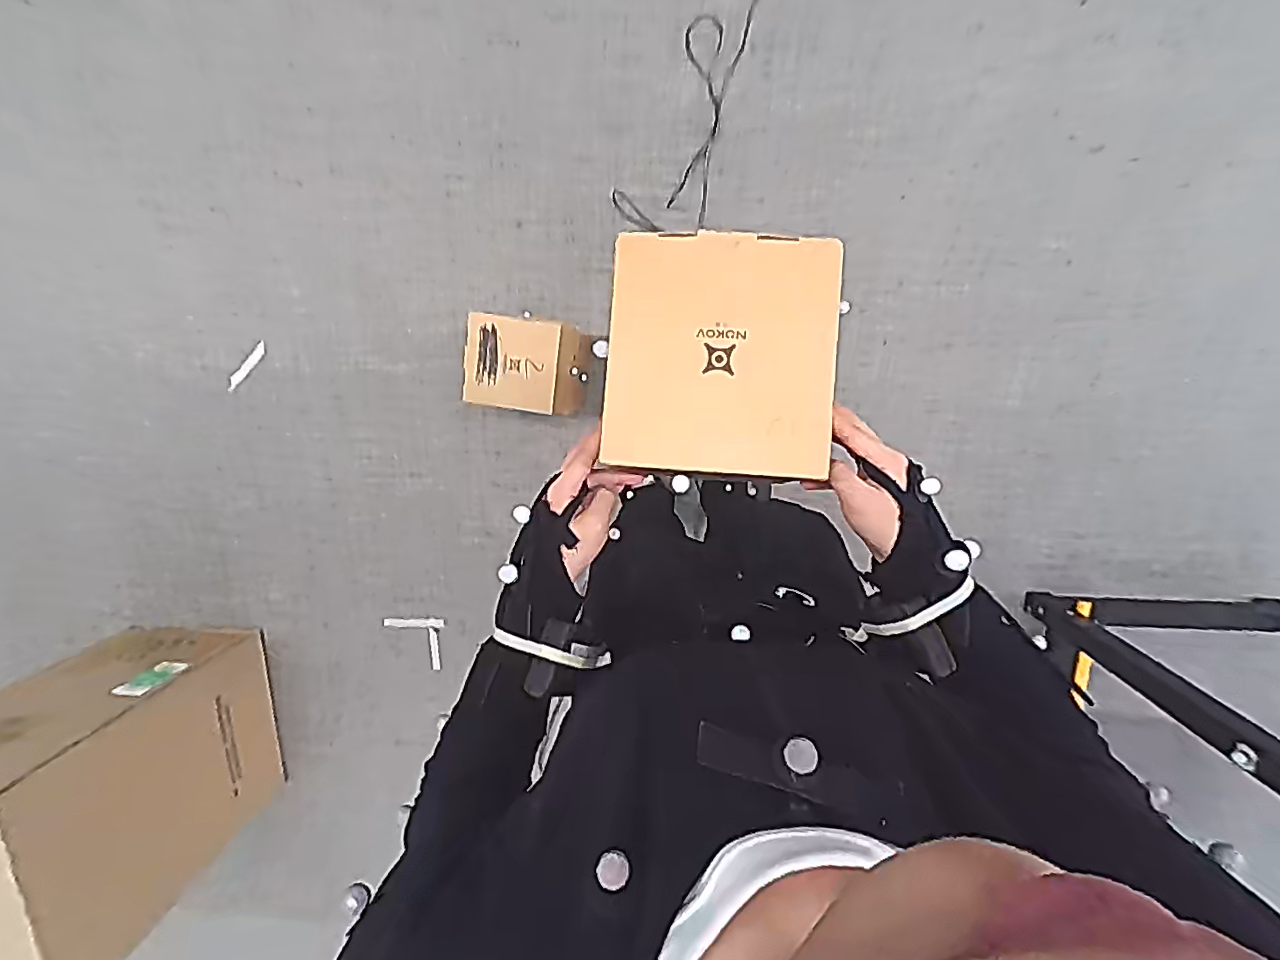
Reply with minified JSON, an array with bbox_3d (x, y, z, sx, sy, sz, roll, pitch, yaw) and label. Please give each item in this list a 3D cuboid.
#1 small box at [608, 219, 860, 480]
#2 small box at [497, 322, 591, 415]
[{"bbox_3d":[0.072,-0.093,0.458,0.168,0.176,0.179,4,88,5],"label":"small box"},{"bbox_3d":[-0.210,-0.253,1.222,0.168,0.176,0.179,9,104,3],"label":"small box"}]
